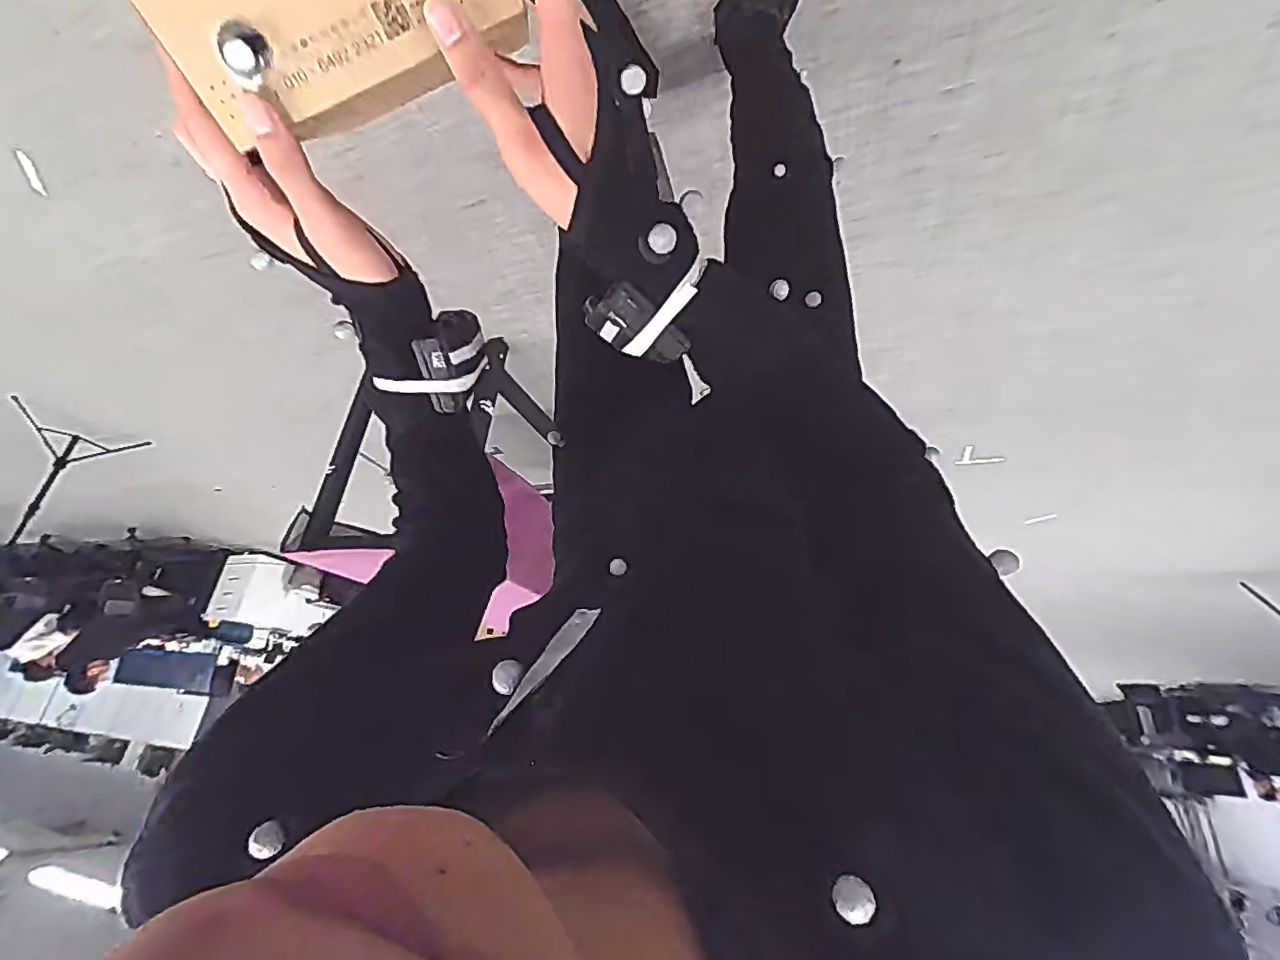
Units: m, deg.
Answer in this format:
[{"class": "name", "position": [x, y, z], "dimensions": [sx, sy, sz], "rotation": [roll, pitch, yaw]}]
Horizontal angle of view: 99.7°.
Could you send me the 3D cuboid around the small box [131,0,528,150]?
[{"class": "small box", "position": [-0.170, -0.299, 0.284], "dimensions": [0.168, 0.179, 0.176], "rotation": [-22, 126, 5]}]
